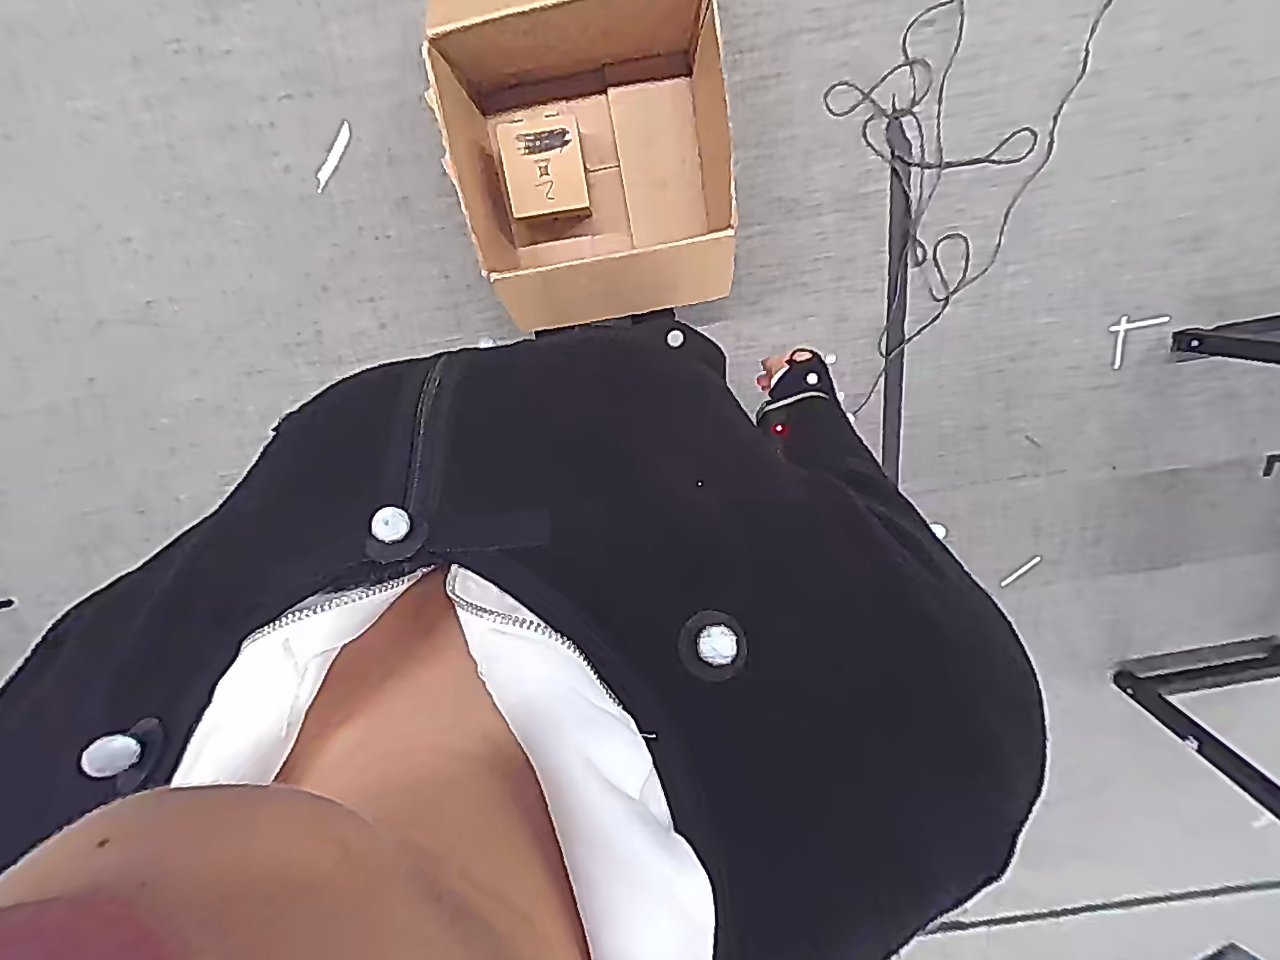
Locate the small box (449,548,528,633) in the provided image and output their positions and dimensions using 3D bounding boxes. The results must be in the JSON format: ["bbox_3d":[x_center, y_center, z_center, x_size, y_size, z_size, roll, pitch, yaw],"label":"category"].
[{"bbox_3d":[-0.413,0.302,1.508,0.179,0.176,0.168,-5,111,-2],"label":"small box"}]

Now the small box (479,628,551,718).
[{"bbox_3d":[-0.364,0.570,1.608,0.168,0.176,0.179,-8,109,-1],"label":"small box"}]
